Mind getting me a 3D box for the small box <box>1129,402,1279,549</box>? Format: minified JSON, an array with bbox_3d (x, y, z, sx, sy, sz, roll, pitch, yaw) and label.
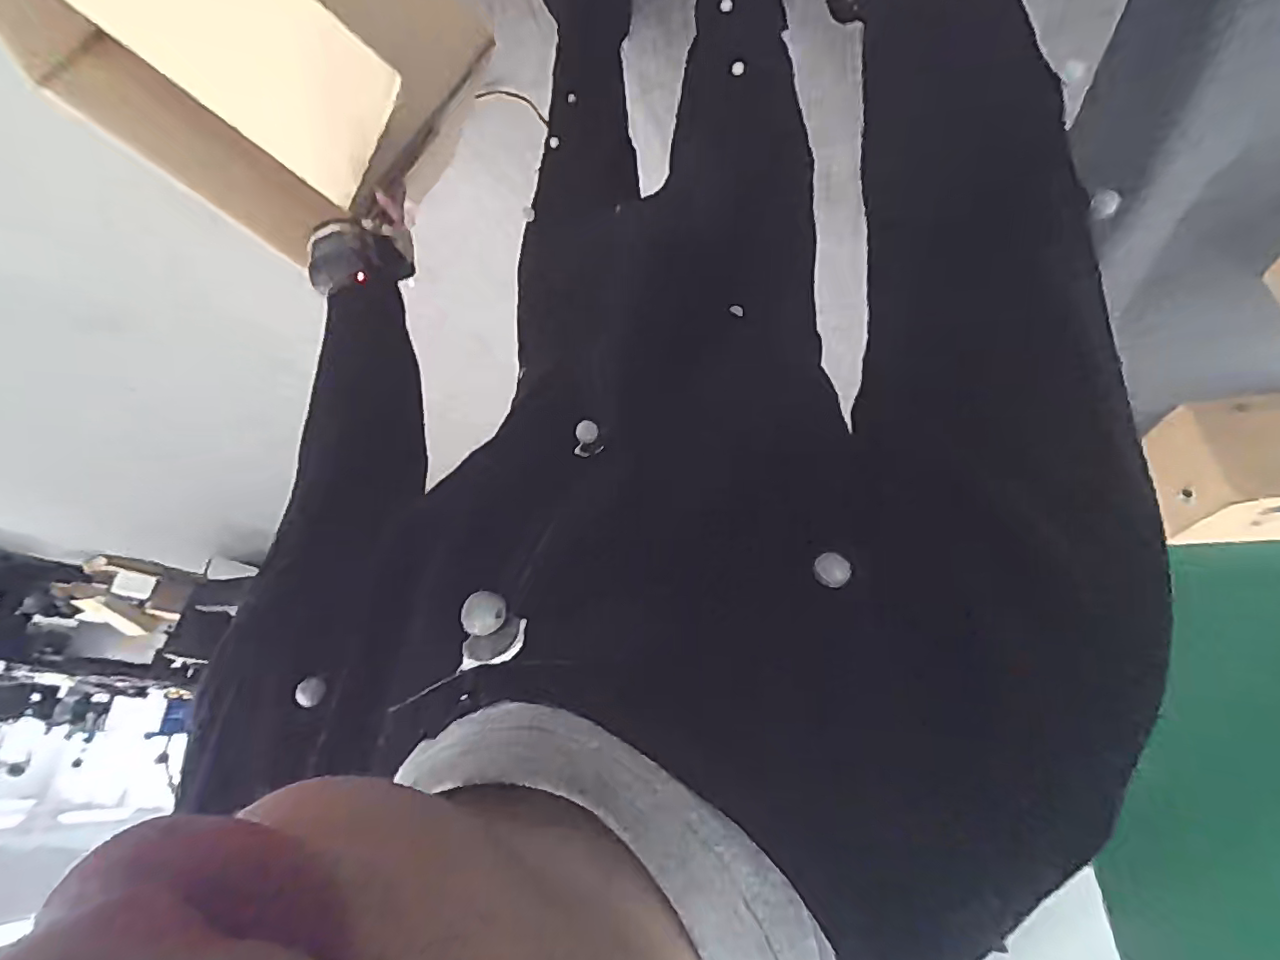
[{"bbox_3d":[0.900,-0.007,0.820,0.168,0.176,0.179,-4,153,14],"label":"small box"}]
